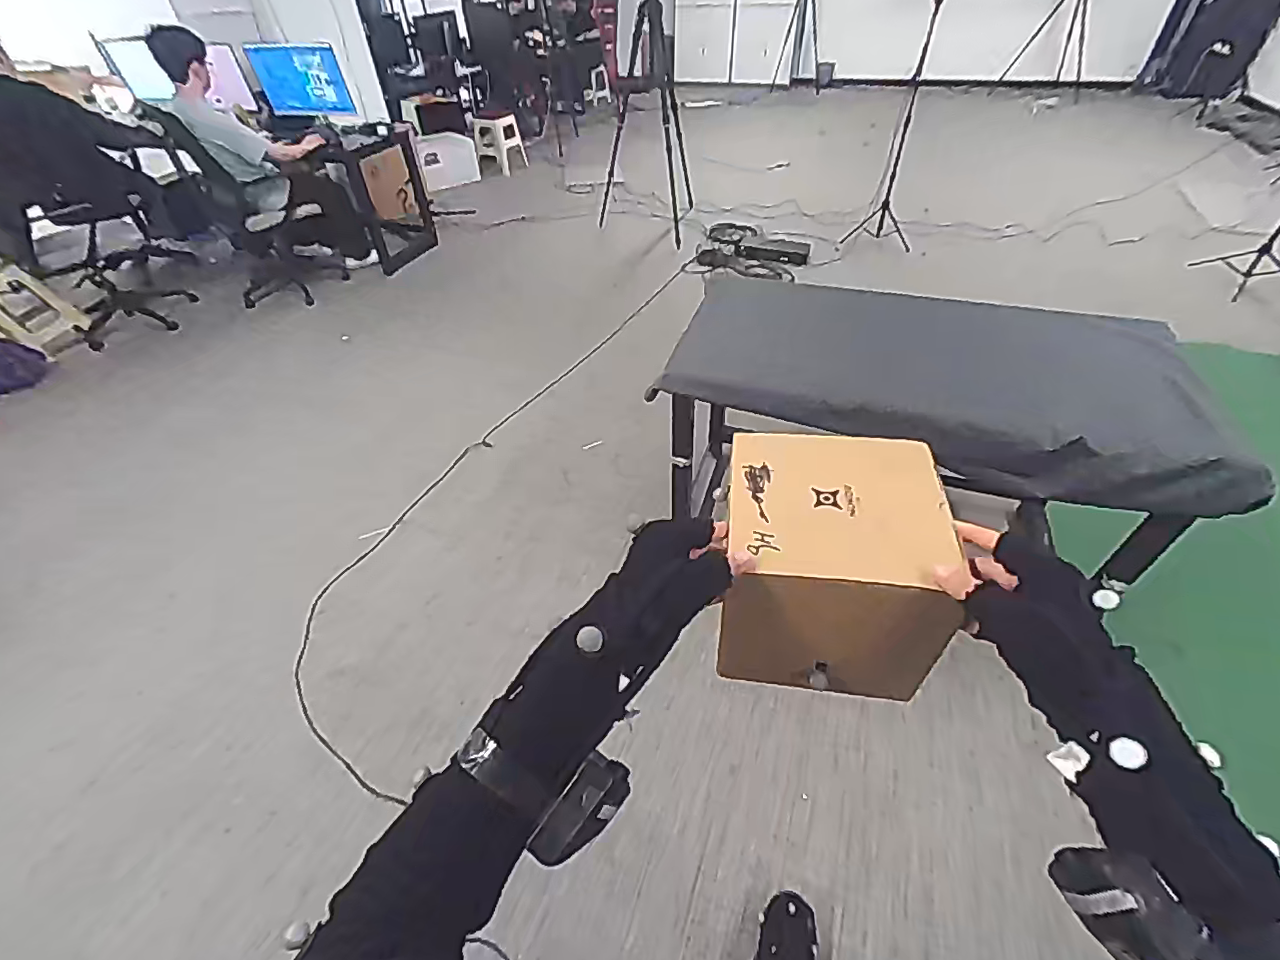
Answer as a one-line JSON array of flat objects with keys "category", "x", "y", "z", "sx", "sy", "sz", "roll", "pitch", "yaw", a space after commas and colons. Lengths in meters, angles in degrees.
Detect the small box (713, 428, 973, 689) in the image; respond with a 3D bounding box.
[{"category": "small box", "x": 0.167, "y": 0.074, "z": 0.505, "sx": 0.179, "sy": 0.176, "sz": 0.168, "roll": 6, "pitch": 42, "yaw": 8}]
